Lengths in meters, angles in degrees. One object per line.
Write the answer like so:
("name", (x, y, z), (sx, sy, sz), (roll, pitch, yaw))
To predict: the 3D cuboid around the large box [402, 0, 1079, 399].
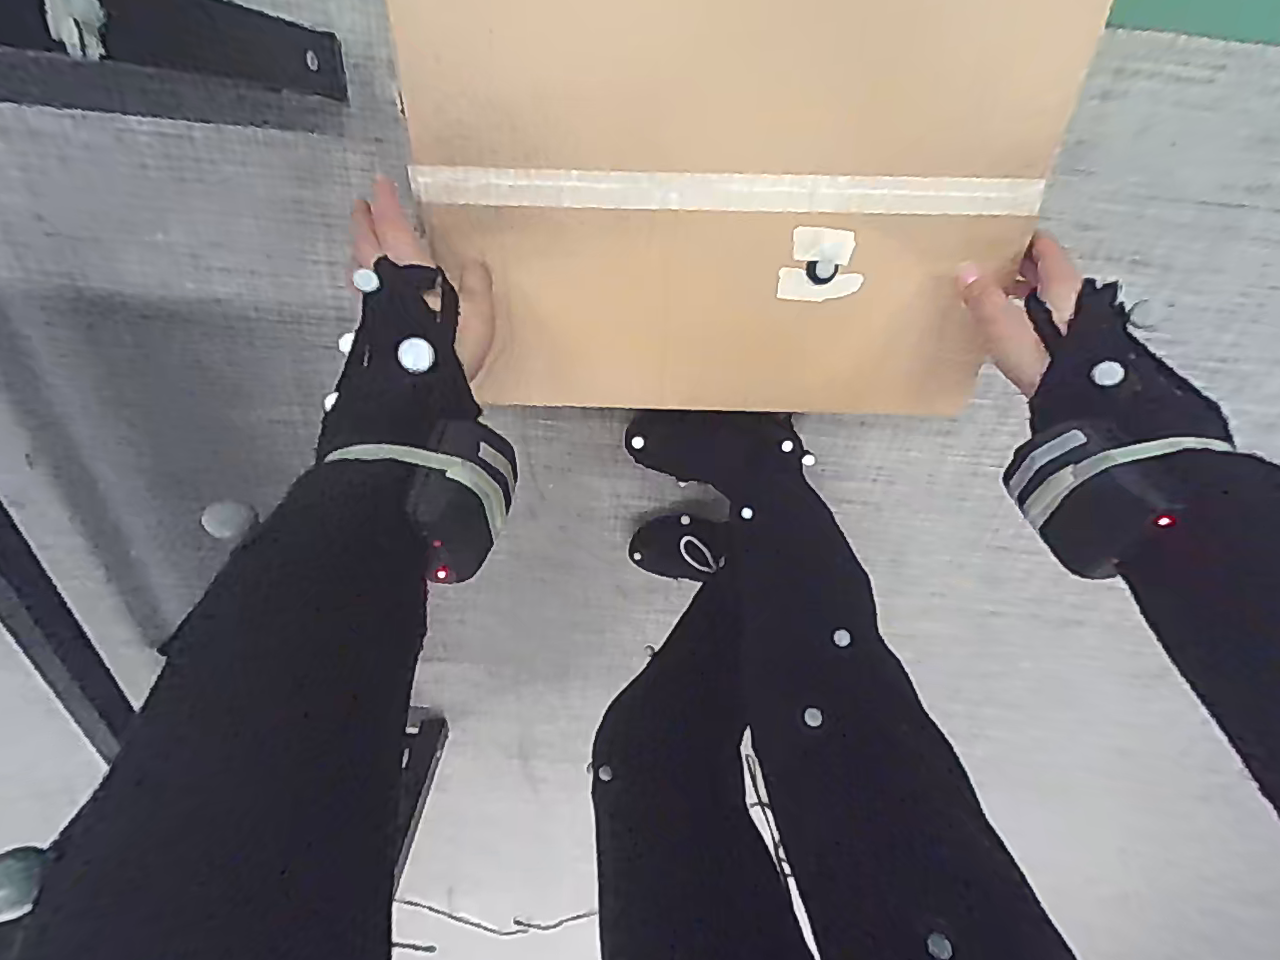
("large box", (0.055, -0.273, 0.492), (0.408, 0.320, 0.320), (0, 121, -1))
